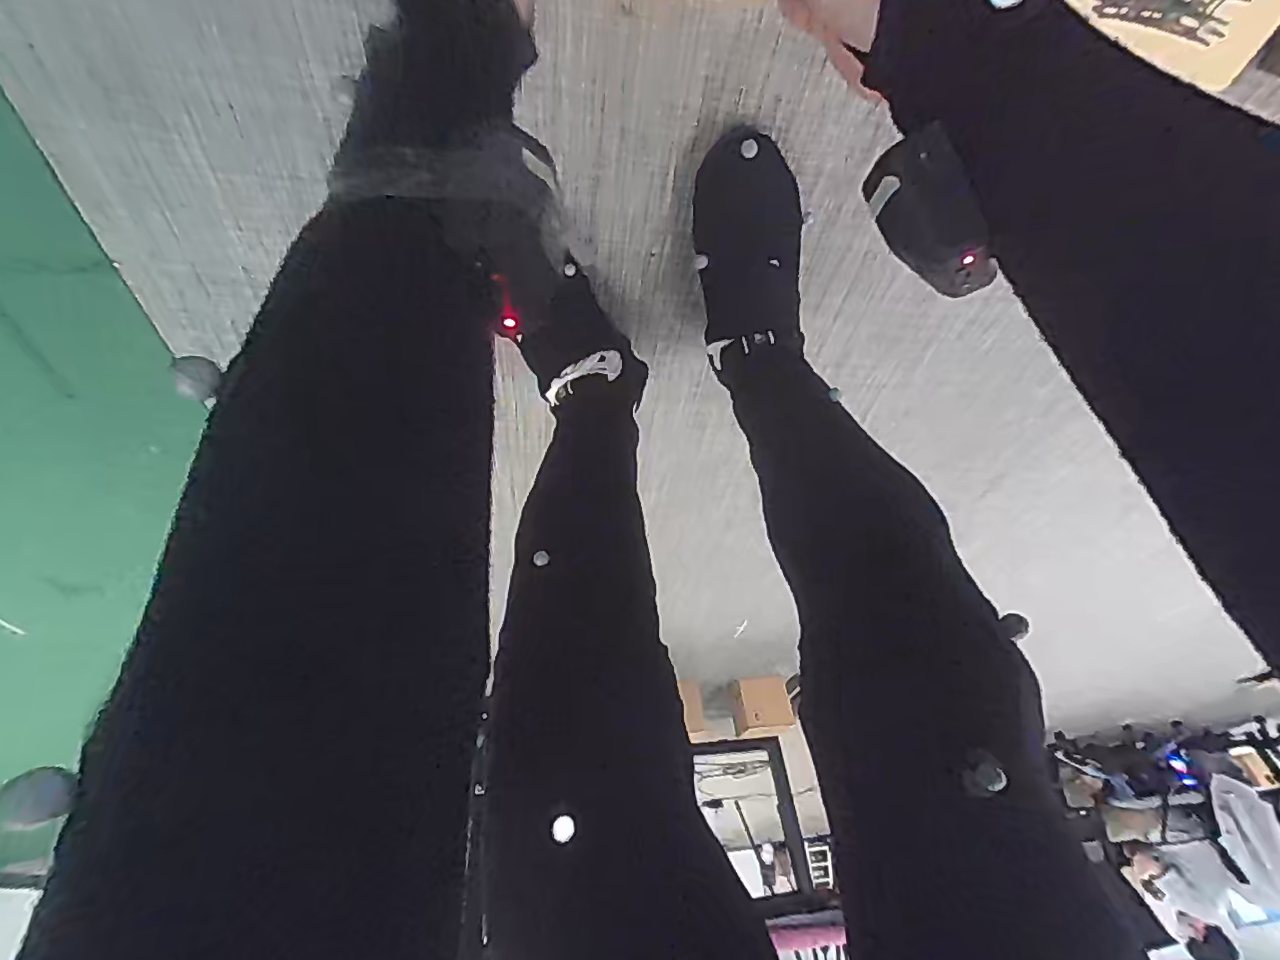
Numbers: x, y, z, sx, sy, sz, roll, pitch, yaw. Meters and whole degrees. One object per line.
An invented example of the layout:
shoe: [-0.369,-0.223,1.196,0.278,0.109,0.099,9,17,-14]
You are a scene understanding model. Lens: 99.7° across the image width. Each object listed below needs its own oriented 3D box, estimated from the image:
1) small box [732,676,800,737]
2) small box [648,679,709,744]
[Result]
small box: [0.447,0.812,1.943,0.179,0.176,0.168,-1,142,-8]
small box: [0.127,0.807,1.886,0.179,0.176,0.168,-1,143,-9]
